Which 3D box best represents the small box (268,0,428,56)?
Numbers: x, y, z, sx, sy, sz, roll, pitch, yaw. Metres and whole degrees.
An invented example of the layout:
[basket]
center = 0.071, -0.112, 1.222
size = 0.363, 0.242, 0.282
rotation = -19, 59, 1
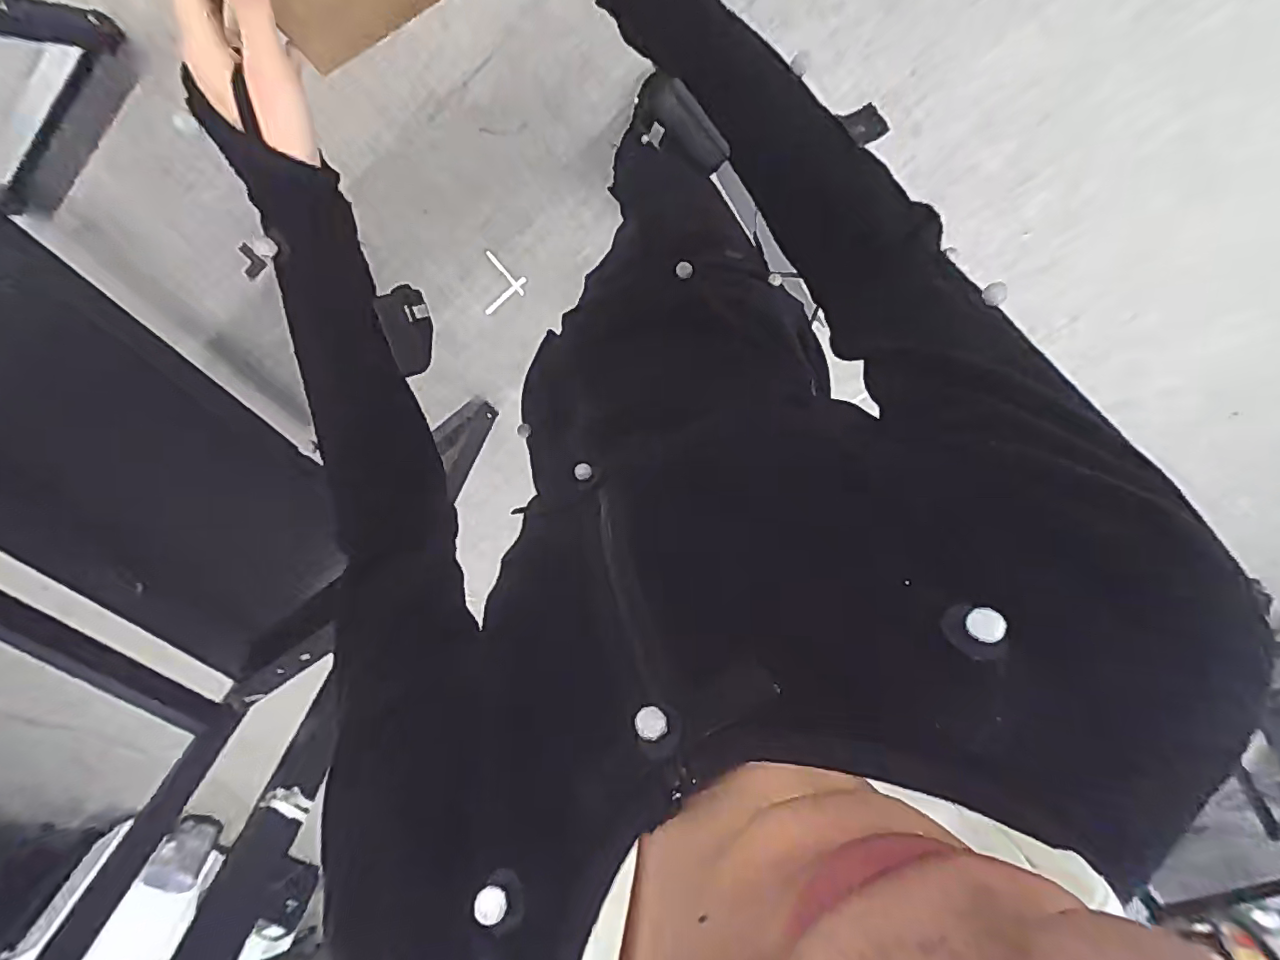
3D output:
[small box]
center = -0.206, -0.415, 0.334
size = 0.179, 0.176, 0.168
rotation = -33, 115, 0
